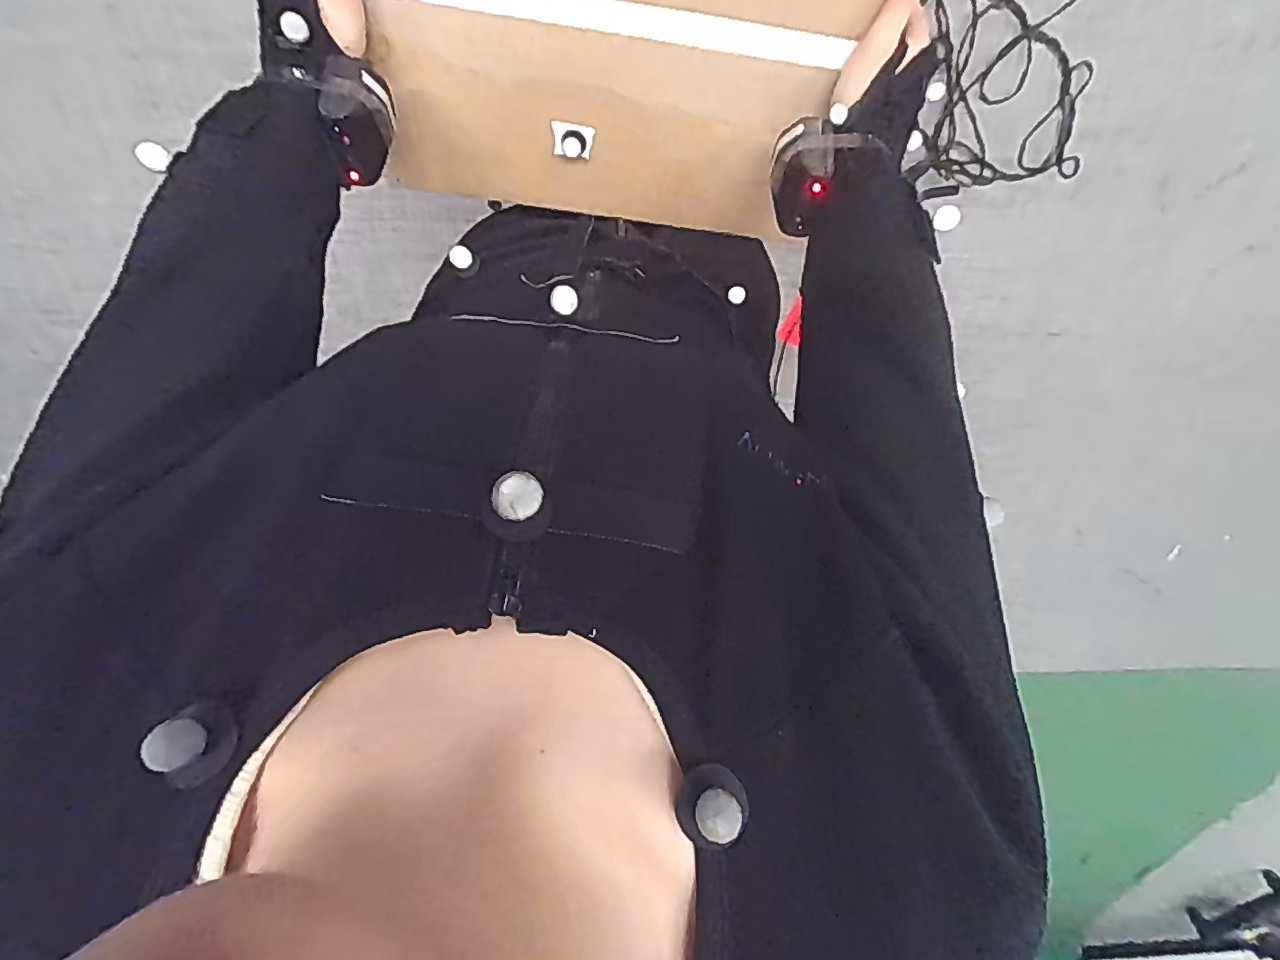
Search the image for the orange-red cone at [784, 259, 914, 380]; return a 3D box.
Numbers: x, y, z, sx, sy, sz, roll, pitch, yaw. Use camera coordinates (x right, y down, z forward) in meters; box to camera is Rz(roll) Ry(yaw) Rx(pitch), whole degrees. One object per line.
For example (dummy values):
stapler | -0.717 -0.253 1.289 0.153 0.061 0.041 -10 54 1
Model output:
orange-red cone | 0.466 -0.295 1.113 0.199 0.360 0.198 17 121 -14
